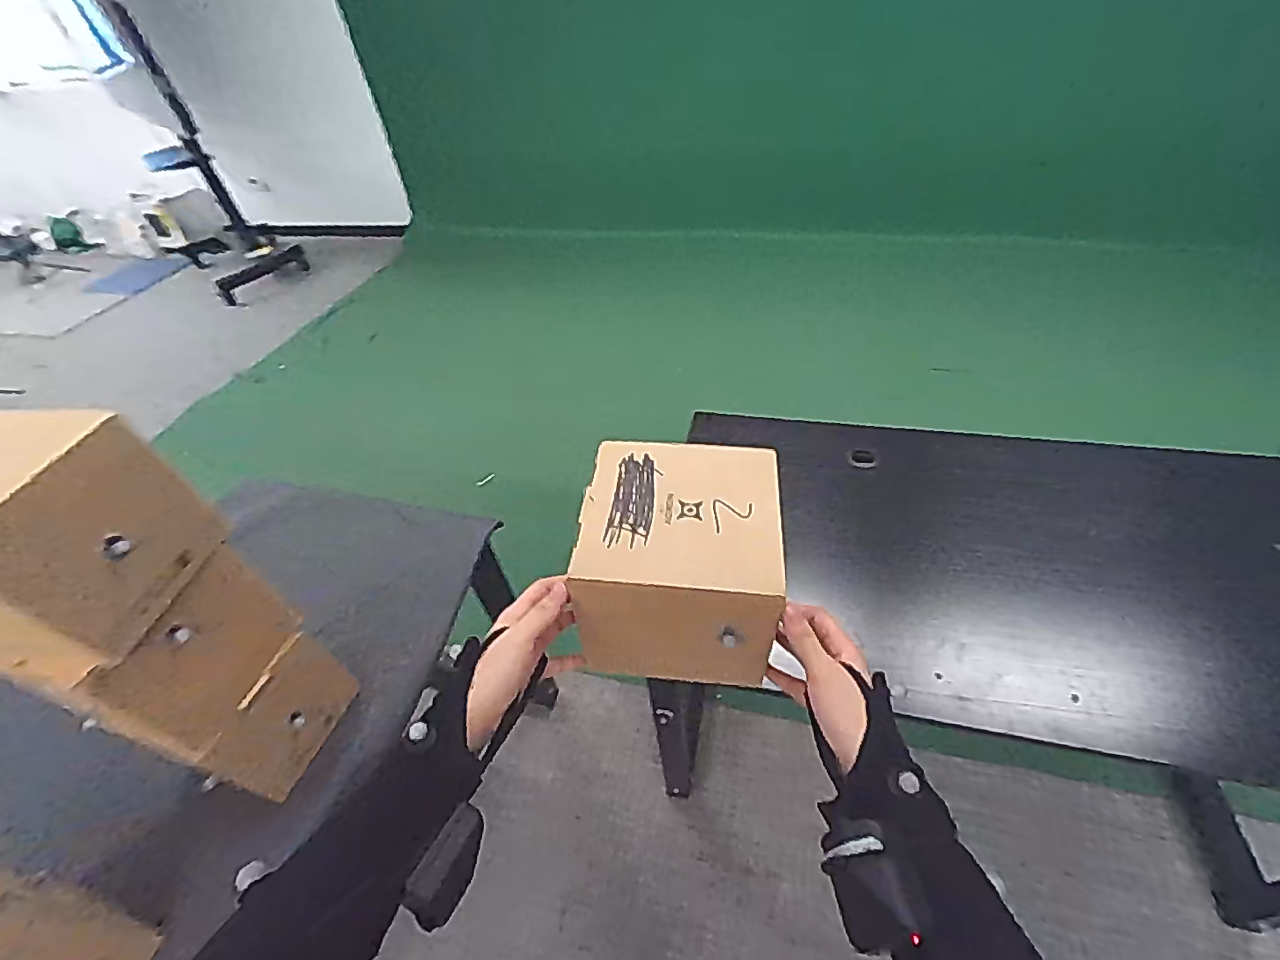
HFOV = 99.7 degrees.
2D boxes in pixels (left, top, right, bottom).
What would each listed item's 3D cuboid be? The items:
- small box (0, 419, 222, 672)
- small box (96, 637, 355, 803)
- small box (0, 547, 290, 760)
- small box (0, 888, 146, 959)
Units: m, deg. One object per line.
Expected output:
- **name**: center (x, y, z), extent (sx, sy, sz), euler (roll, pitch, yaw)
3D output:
- **small box**: center (-0.551, 0.061, 0.497), extent (0.179, 0.176, 0.168), euler (0, 45, 10)
- **small box**: center (-0.526, 0.304, 0.718), extent (0.179, 0.176, 0.168), euler (8, 48, 16)
- **small box**: center (-0.542, 0.182, 0.610), extent (0.168, 0.176, 0.179), euler (6, 47, 16)
- **small box**: center (-0.642, 0.520, 0.520), extent (0.168, 0.176, 0.179), euler (7, 48, 17)
